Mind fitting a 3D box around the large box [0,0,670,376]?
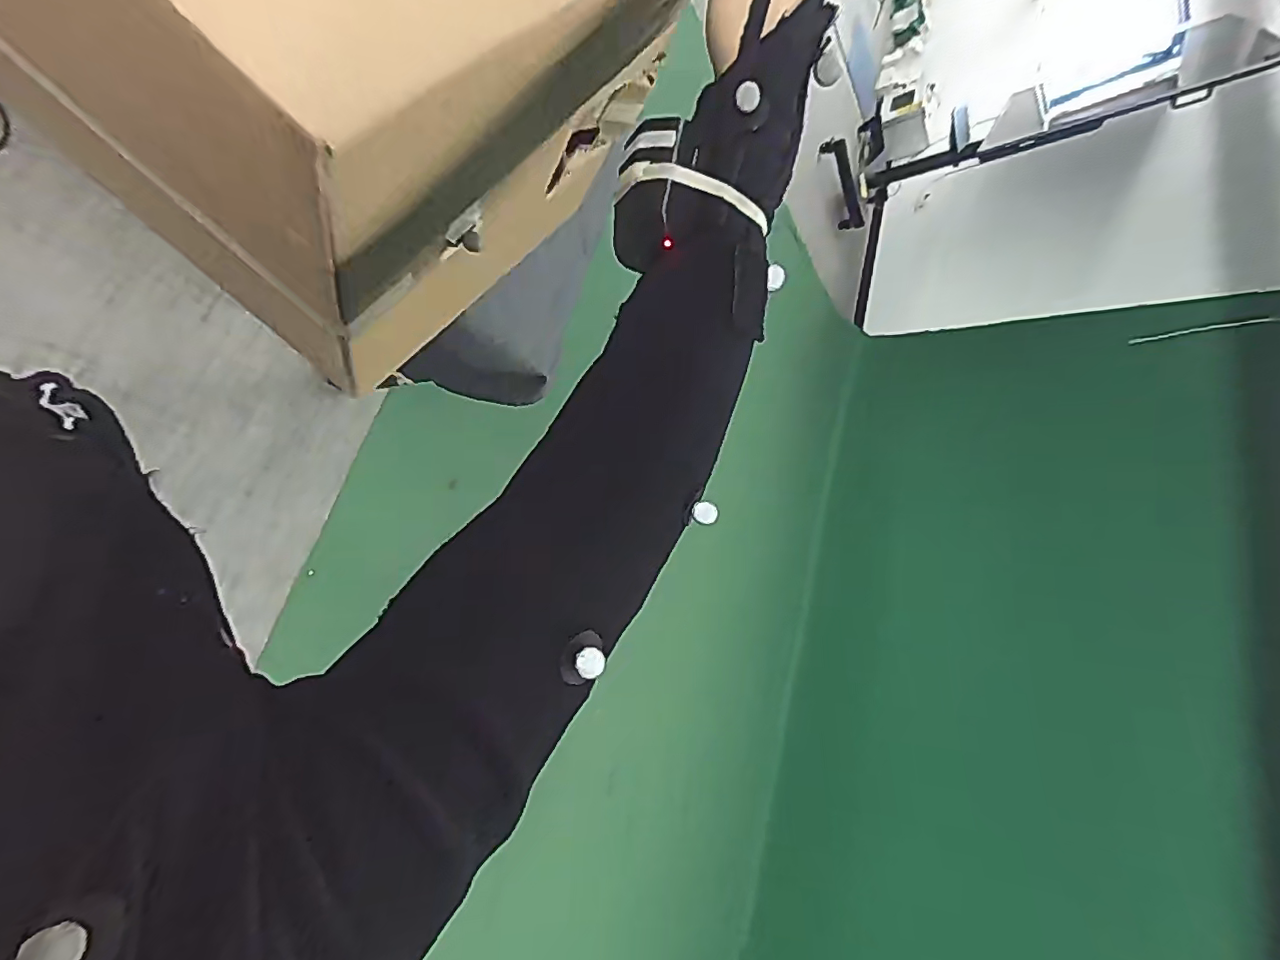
[{"bbox_3d":[-0.234,-0.338,0.334,0.408,0.320,0.320,42,67,-15],"label":"large box"}]
